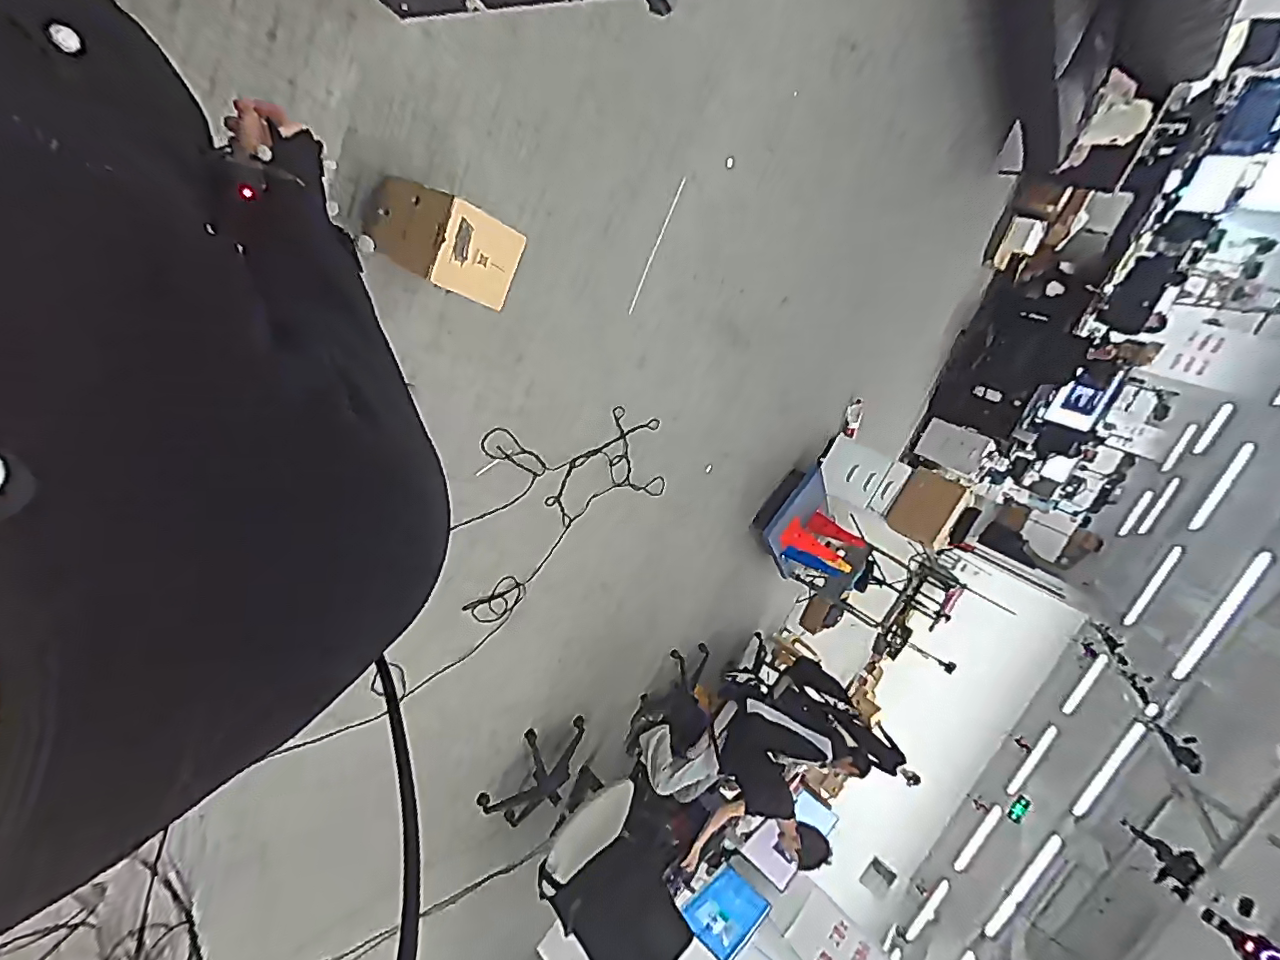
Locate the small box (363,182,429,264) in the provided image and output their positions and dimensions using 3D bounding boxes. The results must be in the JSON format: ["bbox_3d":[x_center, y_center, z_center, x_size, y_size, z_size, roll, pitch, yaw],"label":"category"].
[{"bbox_3d":[-0.487,-0.551,1.227,0.179,0.176,0.168,12,106,-54],"label":"small box"}]

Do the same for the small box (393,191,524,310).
[{"bbox_3d":[-0.381,-0.478,1.124,0.179,0.176,0.168,8,109,-54],"label":"small box"}]
